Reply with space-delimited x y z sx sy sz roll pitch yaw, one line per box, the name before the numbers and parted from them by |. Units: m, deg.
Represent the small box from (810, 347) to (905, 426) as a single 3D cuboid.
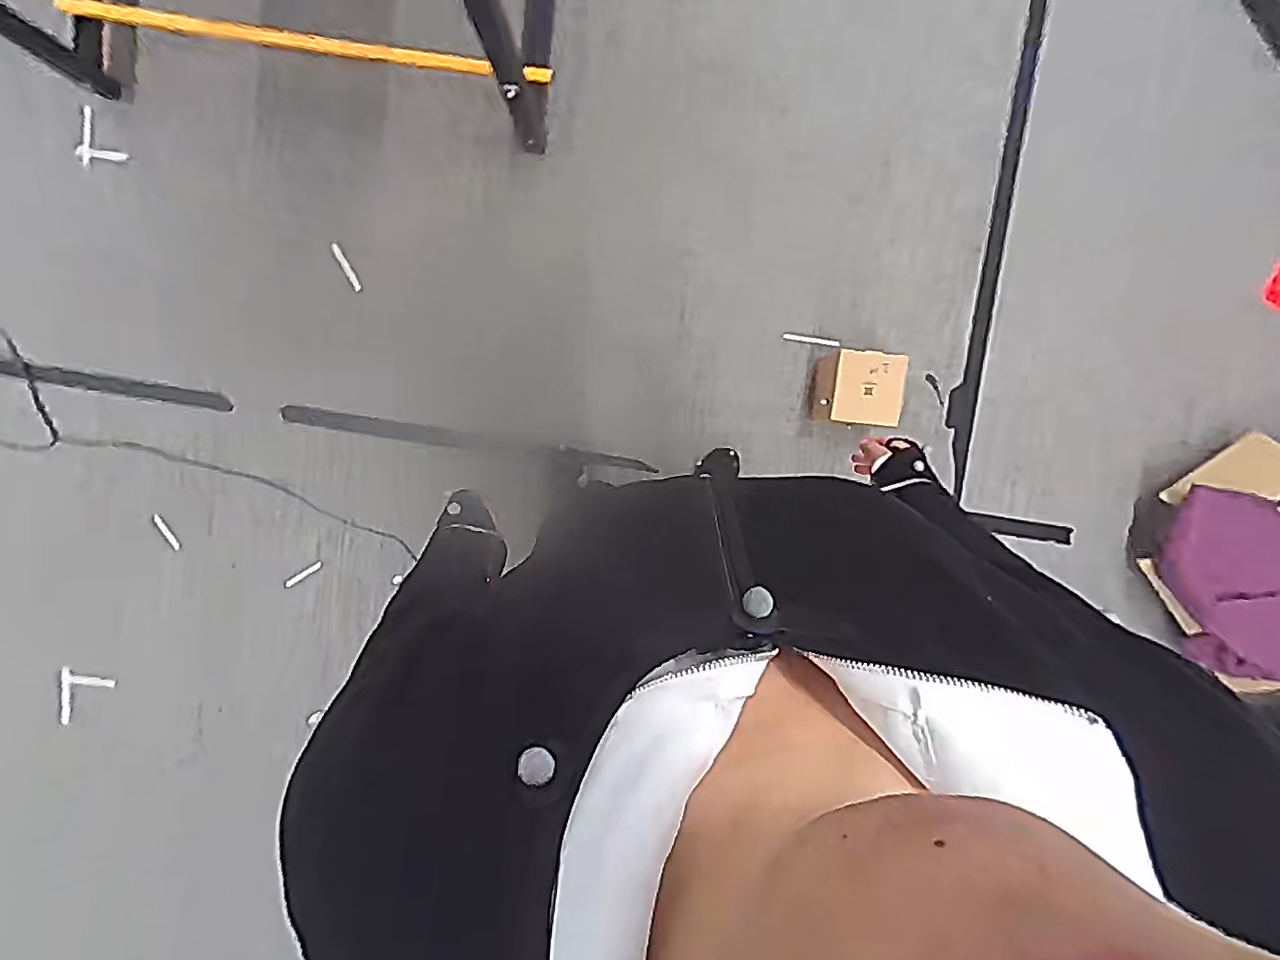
small box | 0.551 -0.235 1.394 0.168 0.176 0.179 7 95 0
